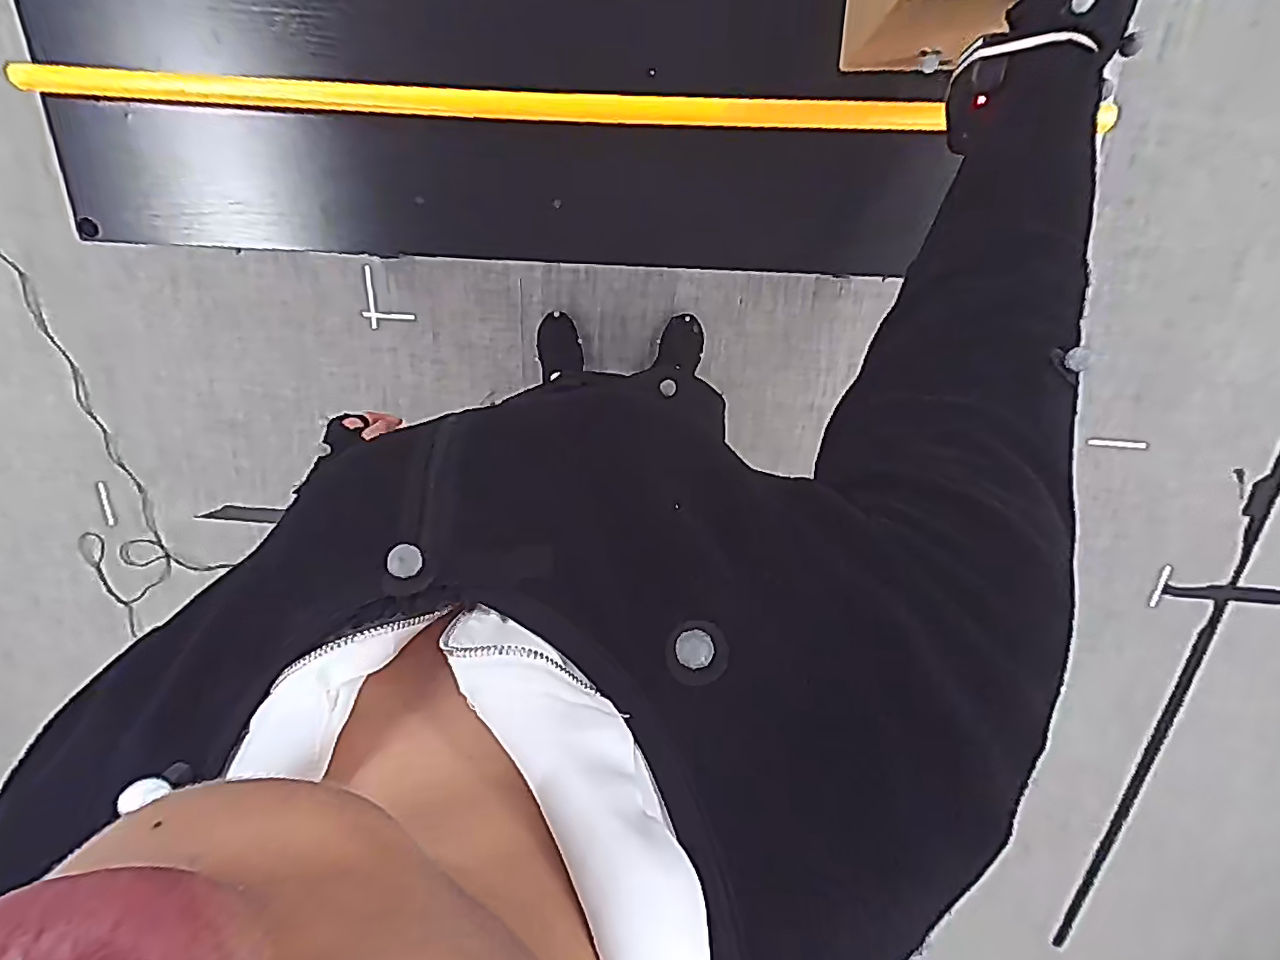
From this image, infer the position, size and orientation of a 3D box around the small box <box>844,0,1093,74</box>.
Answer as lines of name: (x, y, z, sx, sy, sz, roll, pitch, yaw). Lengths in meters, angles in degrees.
small box: (0.297, -0.499, 0.483, 0.168, 0.176, 0.179, 2, 110, 2)
